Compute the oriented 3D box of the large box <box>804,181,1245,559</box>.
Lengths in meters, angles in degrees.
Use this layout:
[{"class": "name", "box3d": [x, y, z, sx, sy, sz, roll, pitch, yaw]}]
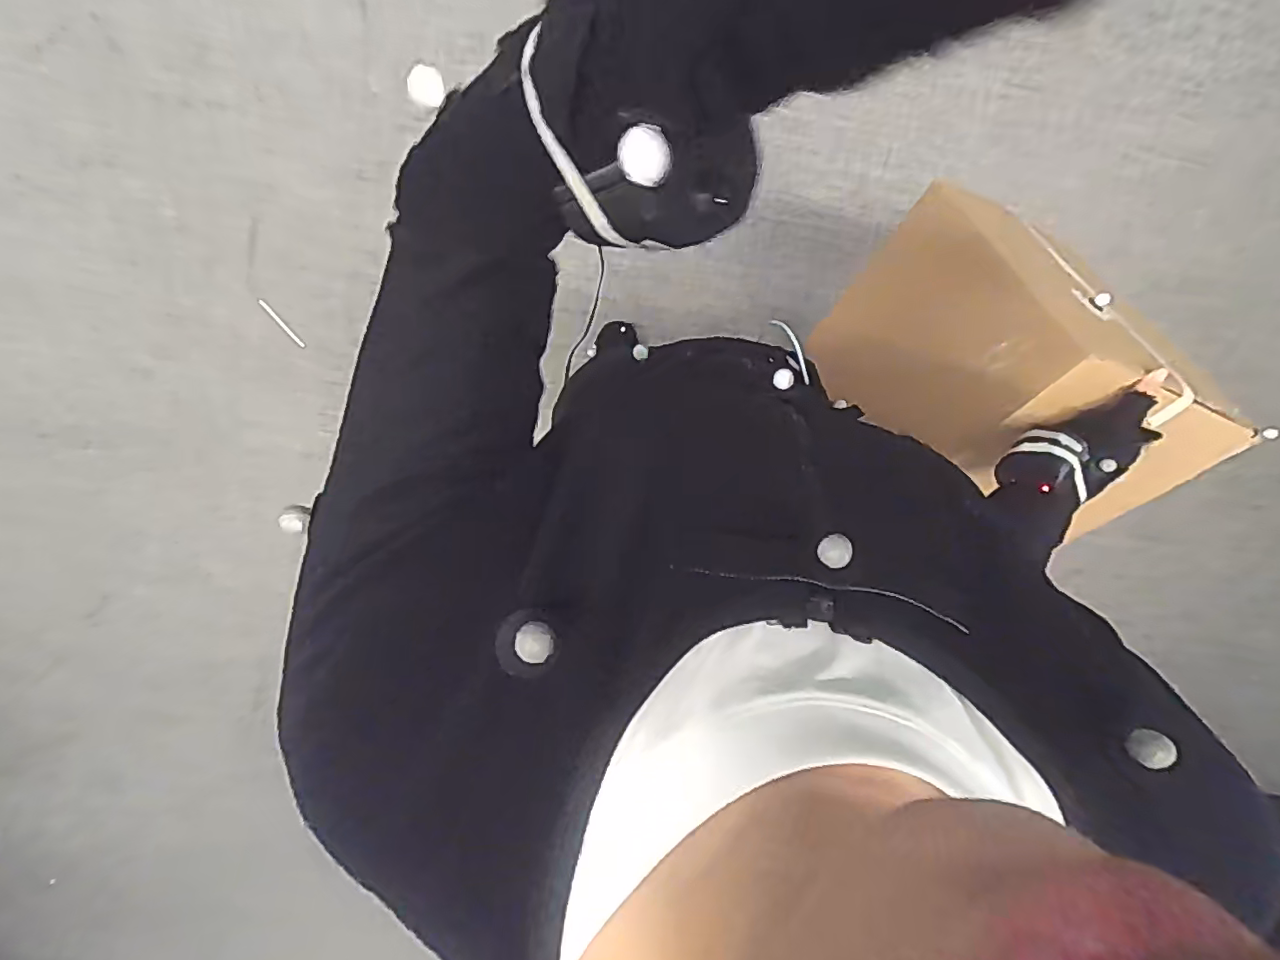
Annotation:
[{"class": "large box", "box3d": [0.497, -0.149, 0.801, 0.320, 0.408, 0.320, 13, 139, -20]}]
